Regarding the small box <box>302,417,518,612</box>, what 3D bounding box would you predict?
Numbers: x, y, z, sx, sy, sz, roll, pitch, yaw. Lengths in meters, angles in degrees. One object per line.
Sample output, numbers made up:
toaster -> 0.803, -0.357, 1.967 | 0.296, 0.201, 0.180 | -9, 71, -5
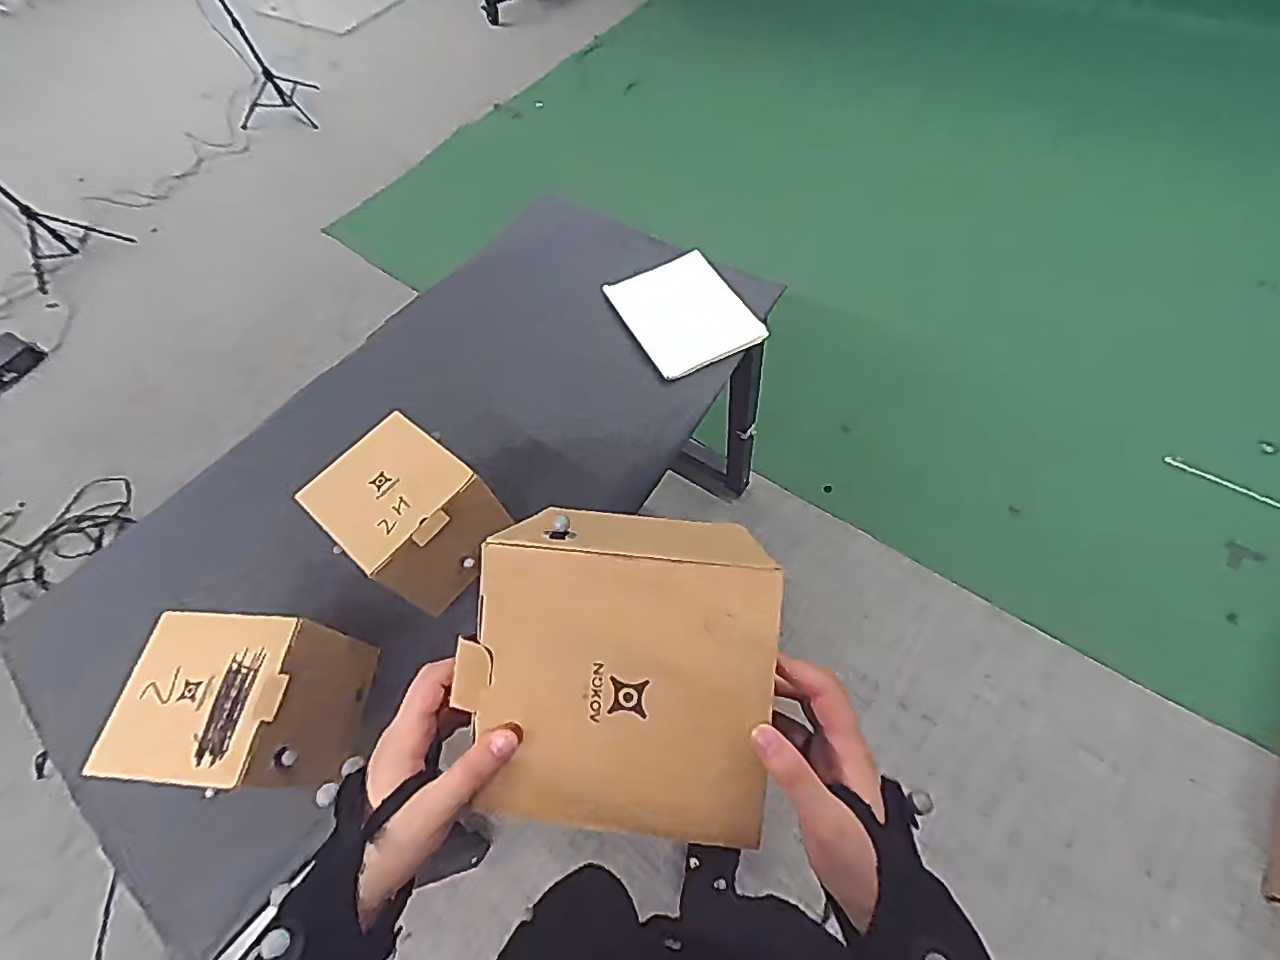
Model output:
small box -> -0.300, 0.053, 0.735 | 0.179, 0.176, 0.168 | 33, 70, 24
